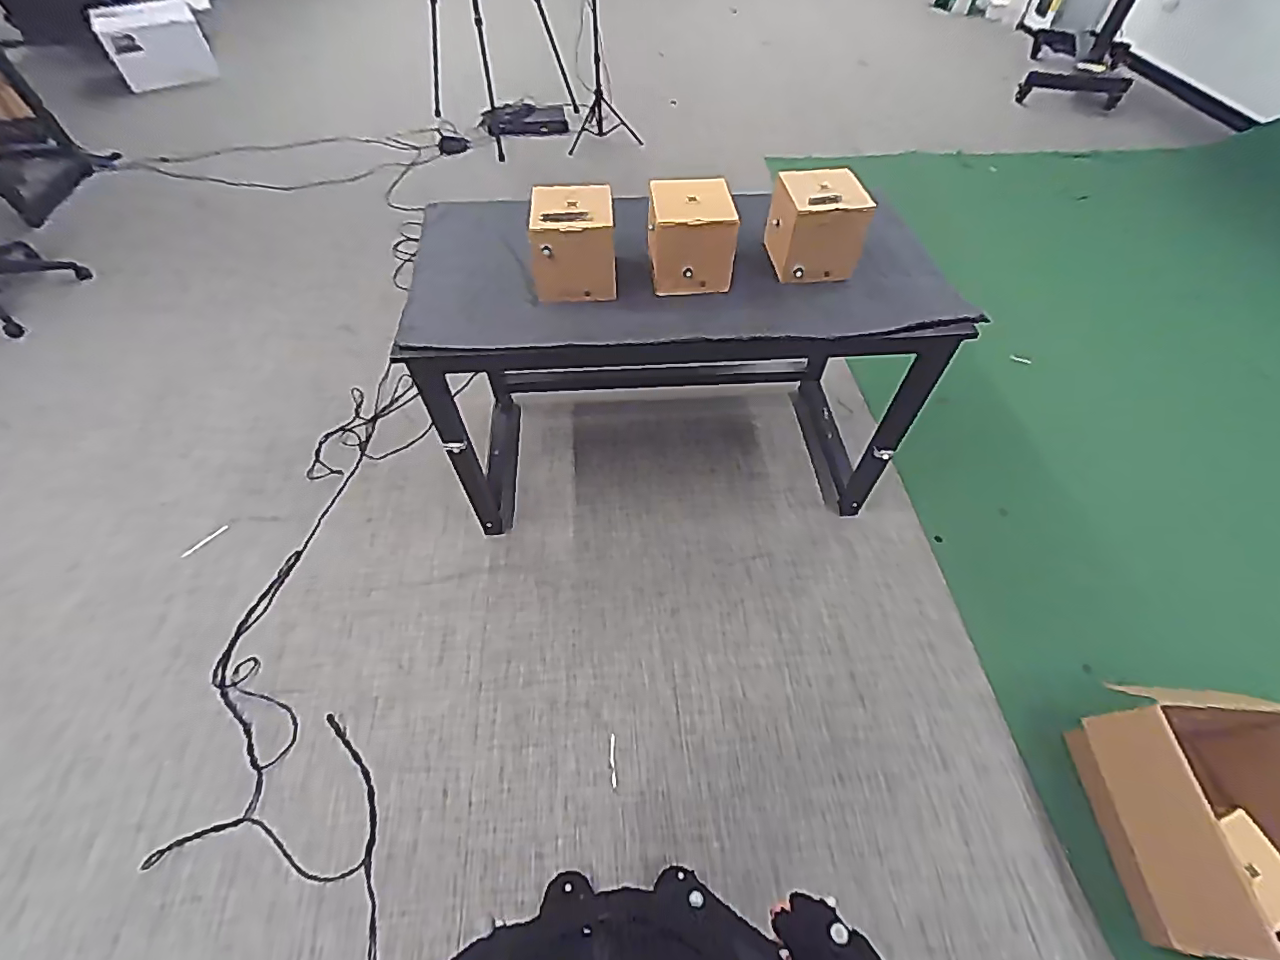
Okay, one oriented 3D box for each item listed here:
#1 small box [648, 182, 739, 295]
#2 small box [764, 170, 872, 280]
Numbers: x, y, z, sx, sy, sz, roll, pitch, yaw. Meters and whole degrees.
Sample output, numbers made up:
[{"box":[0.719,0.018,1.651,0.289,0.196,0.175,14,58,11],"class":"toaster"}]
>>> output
[{"box":[0.108,-0.529,1.188,0.168,0.176,0.179,-4,55,-4],"class":"small box"},{"box":[0.388,-0.564,1.210,0.168,0.176,0.179,-4,53,-3],"class":"small box"}]
